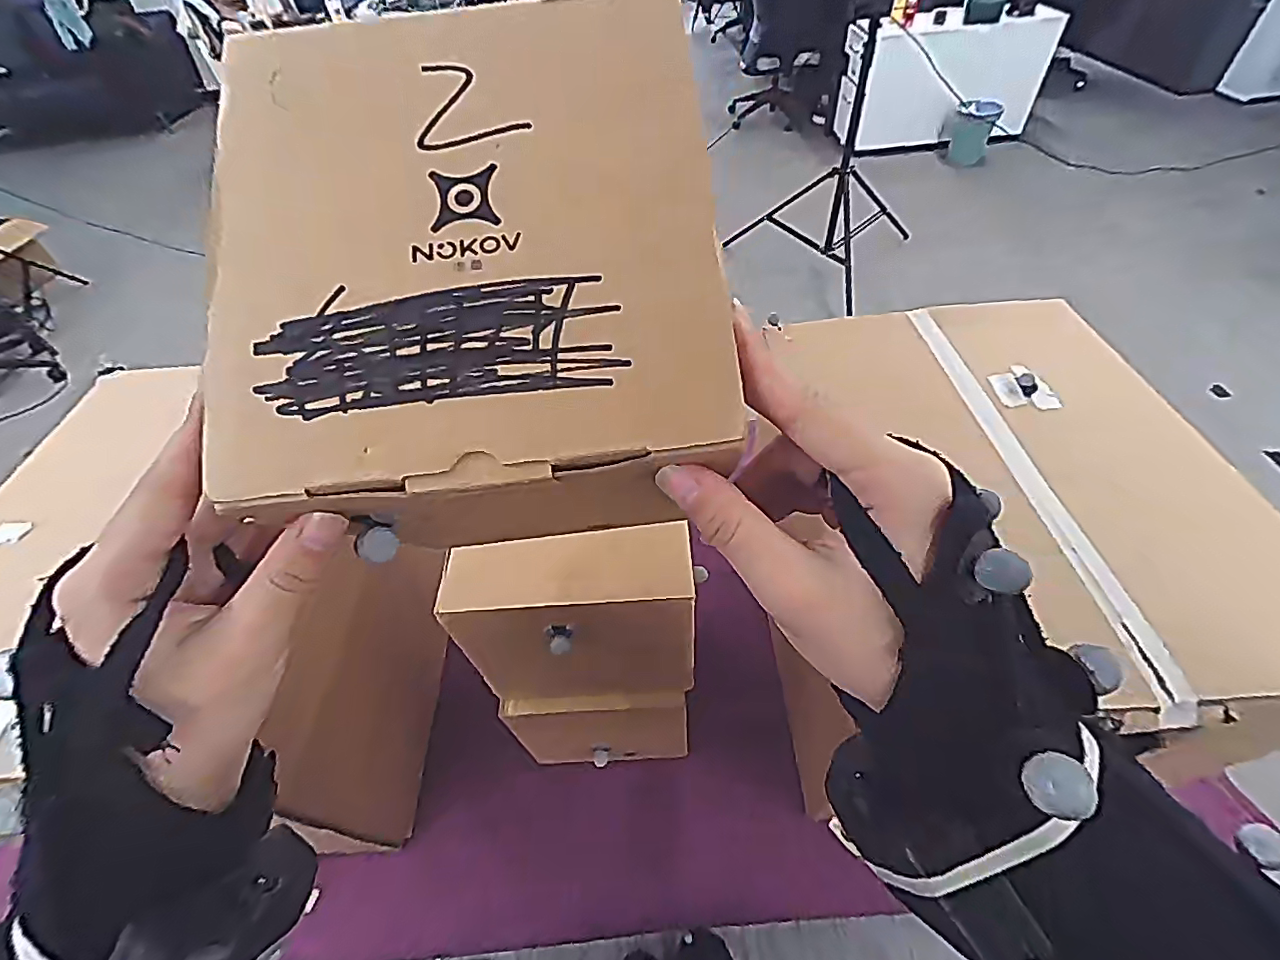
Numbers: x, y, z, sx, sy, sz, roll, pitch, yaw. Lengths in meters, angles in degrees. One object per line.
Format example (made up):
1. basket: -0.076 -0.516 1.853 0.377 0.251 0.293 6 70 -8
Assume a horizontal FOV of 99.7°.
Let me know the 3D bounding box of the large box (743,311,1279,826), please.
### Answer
1. large box: 0.298 0.083 0.552 0.320 0.320 0.408 -5 48 1
